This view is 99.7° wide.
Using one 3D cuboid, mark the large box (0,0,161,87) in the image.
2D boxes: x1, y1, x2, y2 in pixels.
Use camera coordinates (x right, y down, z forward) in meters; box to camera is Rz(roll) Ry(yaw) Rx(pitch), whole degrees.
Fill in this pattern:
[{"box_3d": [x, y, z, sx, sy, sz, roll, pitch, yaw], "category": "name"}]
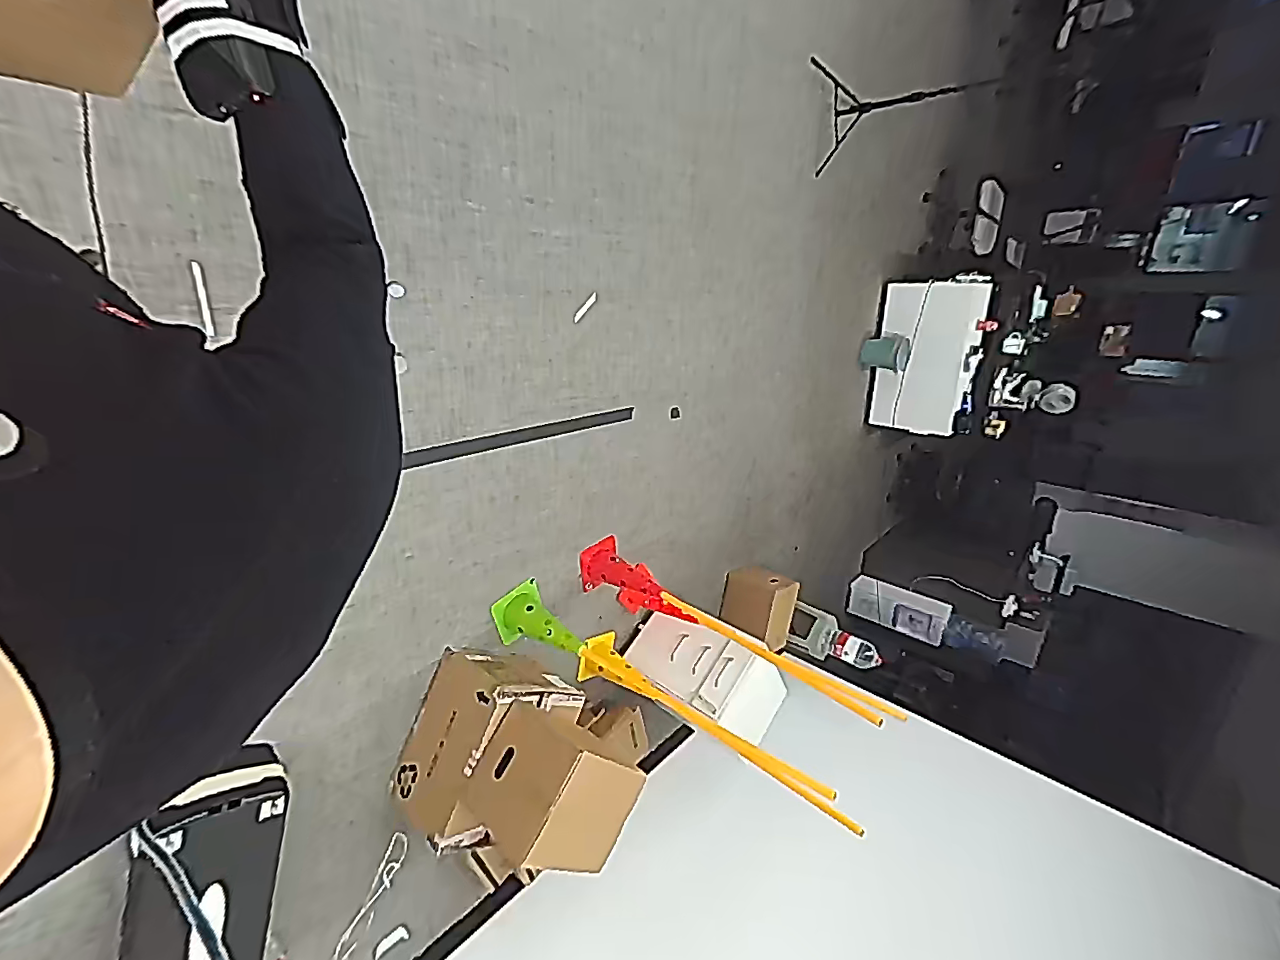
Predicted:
[{"box_3d": [-0.547, -0.457, 0.264, 0.408, 0.320, 0.320, -19, 117, -45], "category": "large box"}]
